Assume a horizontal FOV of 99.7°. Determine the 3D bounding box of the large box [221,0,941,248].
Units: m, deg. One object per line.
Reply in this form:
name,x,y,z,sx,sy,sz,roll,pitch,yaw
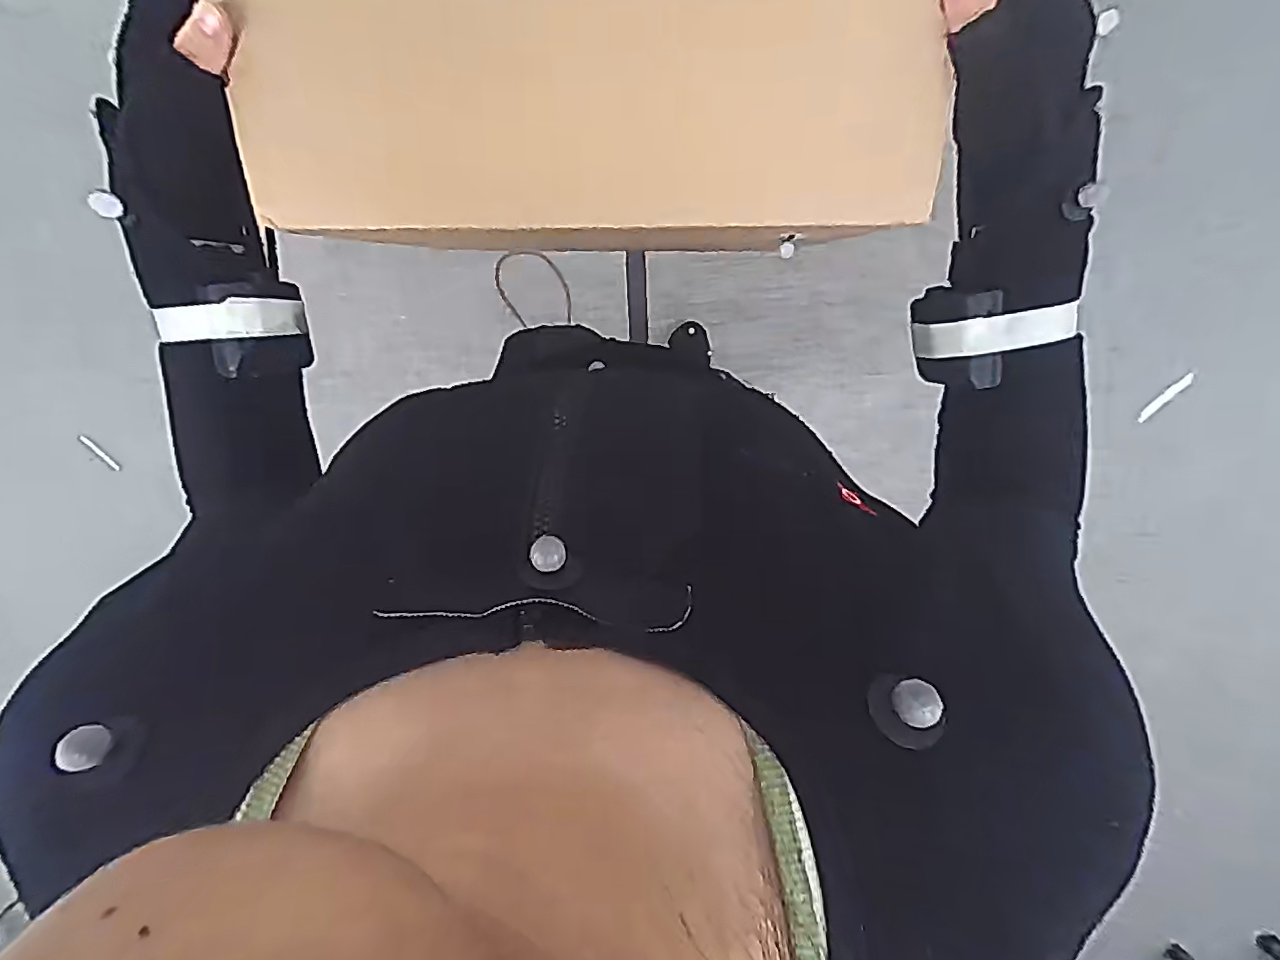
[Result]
large box,-0.031,-0.355,0.422,0.408,0.320,0.320,-1,110,0
